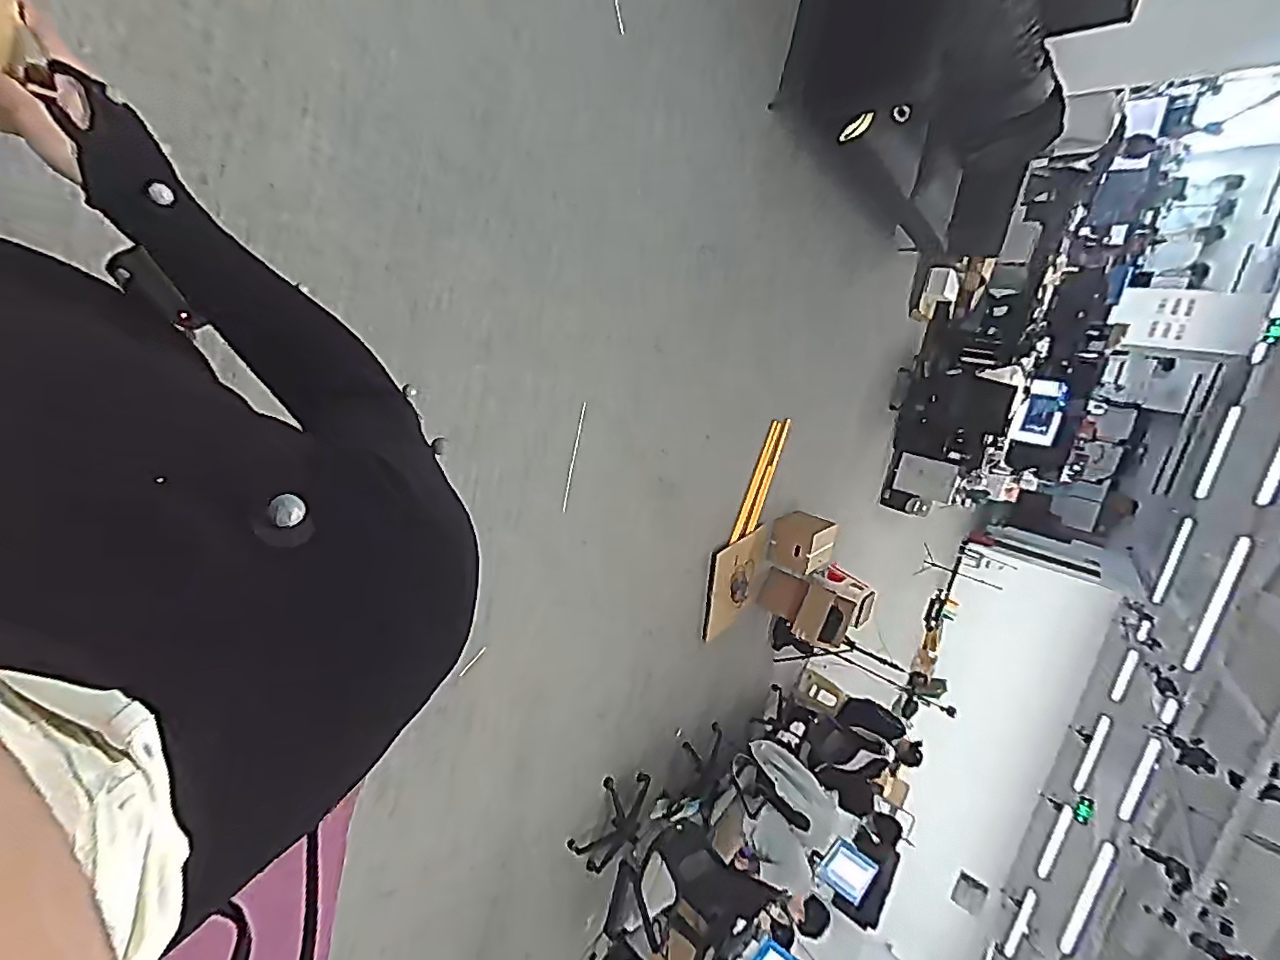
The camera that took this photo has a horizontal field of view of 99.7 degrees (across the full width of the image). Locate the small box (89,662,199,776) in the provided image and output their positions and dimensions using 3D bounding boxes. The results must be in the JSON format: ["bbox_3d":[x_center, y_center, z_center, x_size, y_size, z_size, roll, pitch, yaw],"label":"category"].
[{"bbox_3d":[-1.215,0.572,1.323,0.179,0.176,0.168,0,107,-49],"label":"small box"}]
